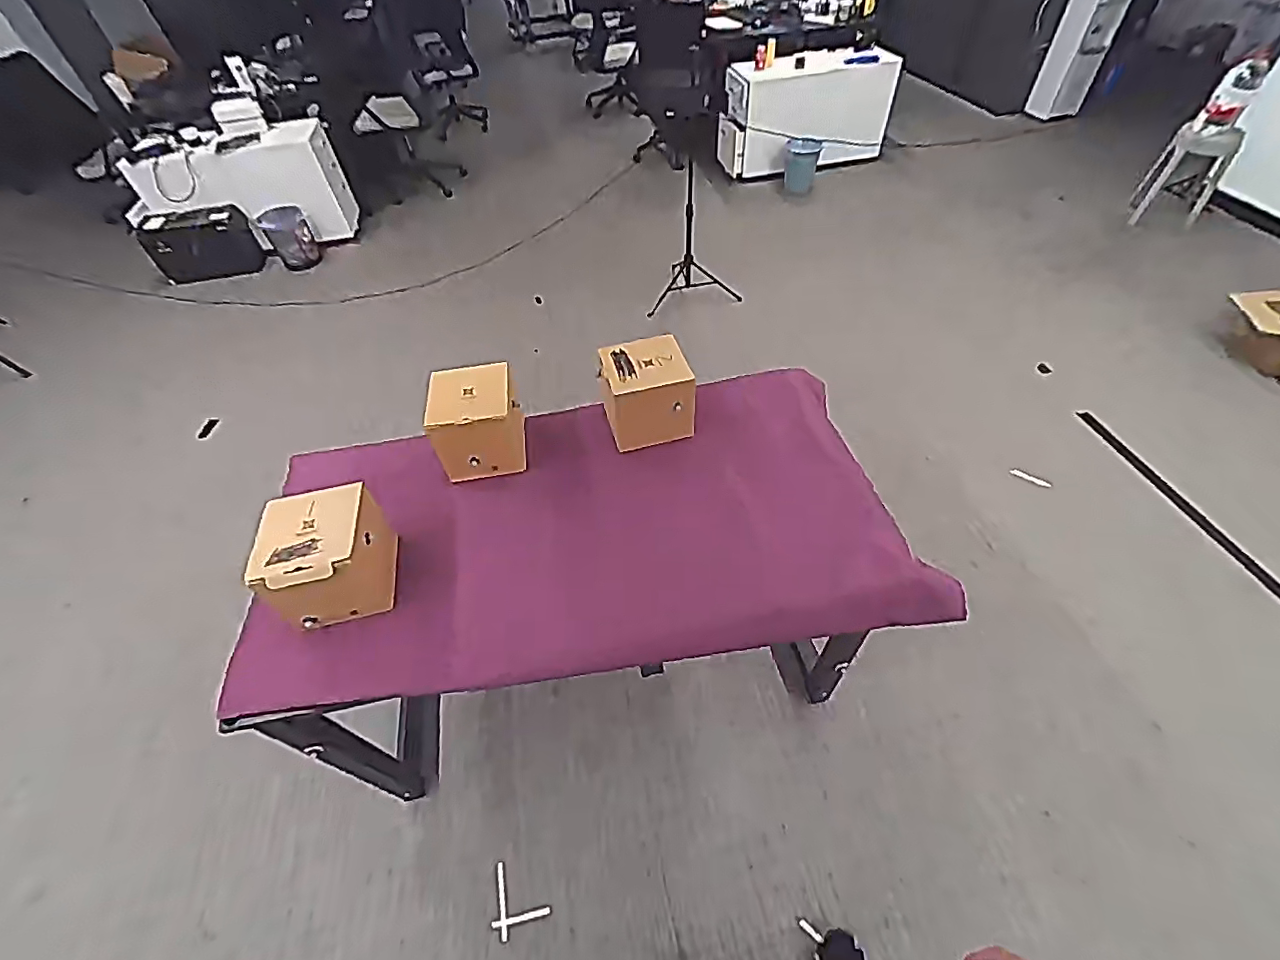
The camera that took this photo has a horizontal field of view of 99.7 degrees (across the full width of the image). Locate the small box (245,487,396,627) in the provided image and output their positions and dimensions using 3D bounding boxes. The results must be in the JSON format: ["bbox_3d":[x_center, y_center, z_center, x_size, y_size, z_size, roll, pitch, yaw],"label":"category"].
[{"bbox_3d":[-0.554,0.144,0.966,0.168,0.176,0.179,-12,48,-7],"label":"small box"}]

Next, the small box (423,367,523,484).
[{"bbox_3d":[-0.352,-0.117,1.171,0.168,0.176,0.179,-9,50,-4],"label":"small box"}]
